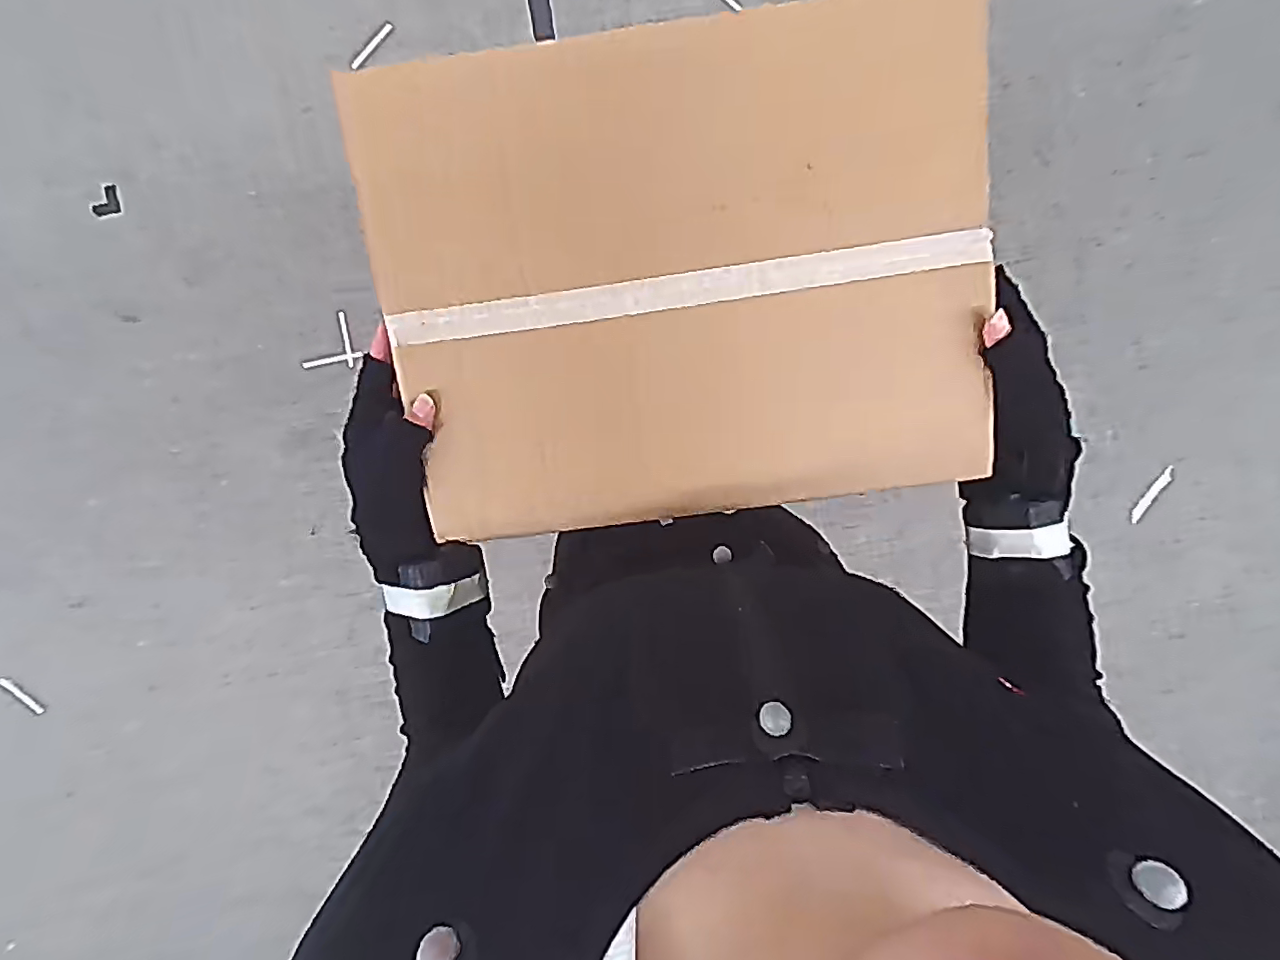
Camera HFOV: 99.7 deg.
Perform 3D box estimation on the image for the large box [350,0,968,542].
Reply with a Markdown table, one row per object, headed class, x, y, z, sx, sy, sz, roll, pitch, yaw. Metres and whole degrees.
| class | x | y | z | sx | sy | sz | roll | pitch | yaw |
| --- | --- | --- | --- | --- | --- | --- | --- | --- | --- |
| large box | 0.028 | -0.159 | 0.521 | 0.408 | 0.320 | 0.320 | -8 | 101 | 2 |
